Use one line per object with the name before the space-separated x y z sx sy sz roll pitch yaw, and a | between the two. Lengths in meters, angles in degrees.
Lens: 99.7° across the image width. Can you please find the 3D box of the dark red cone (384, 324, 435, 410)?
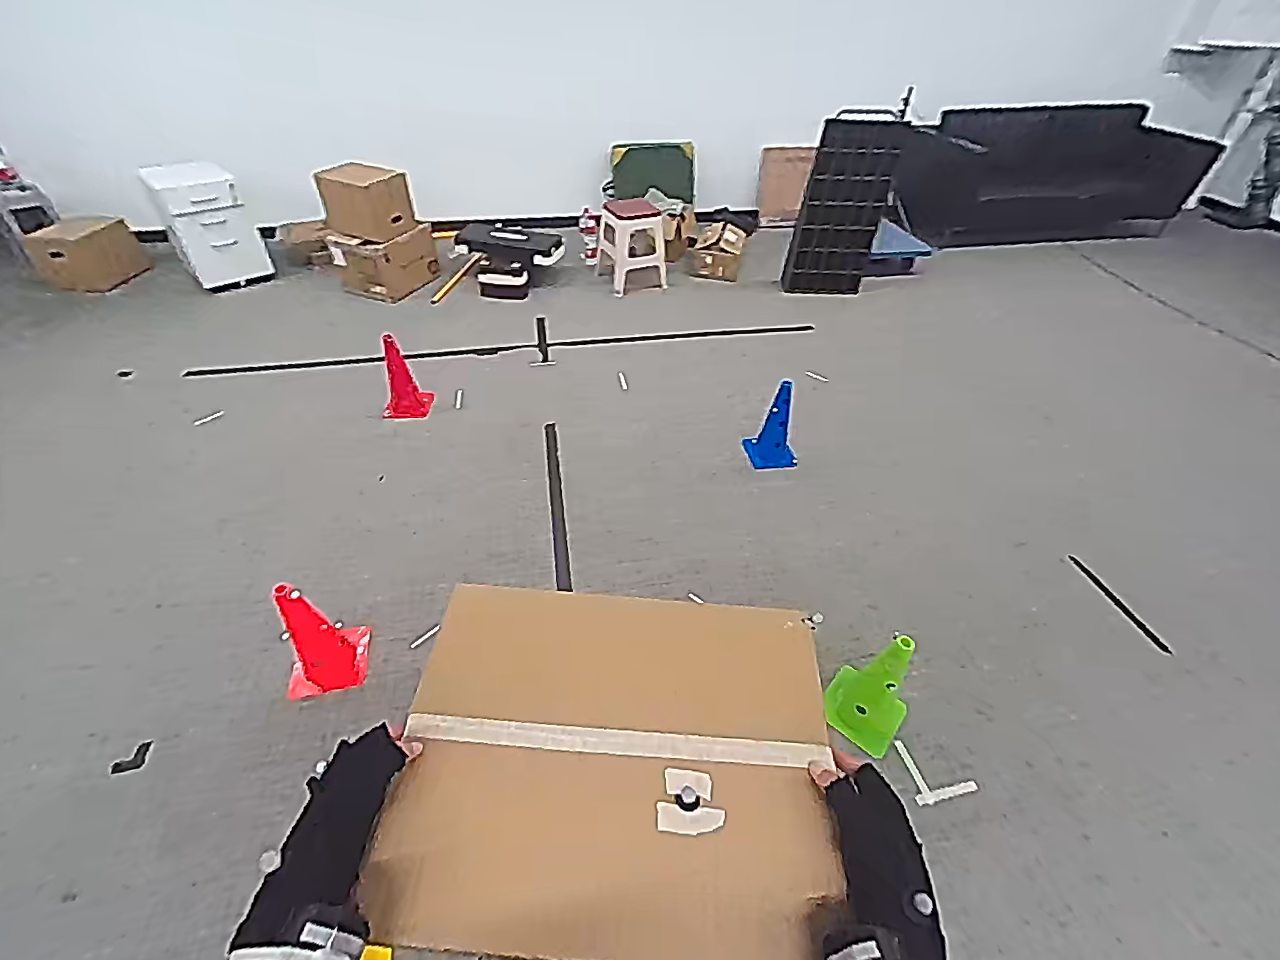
dark red cone | -1.057 -0.503 2.398 0.201 0.394 0.202 -1 43 -5

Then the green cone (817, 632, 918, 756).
green cone | 0.636 0.516 1.406 0.200 0.368 0.202 33 49 28

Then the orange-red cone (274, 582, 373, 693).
orange-red cone | -0.896 0.396 1.472 0.198 0.360 0.199 -8 45 -10

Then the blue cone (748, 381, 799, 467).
blue cone | 0.586 -0.242 2.245 0.192 0.380 0.193 -3 43 -7

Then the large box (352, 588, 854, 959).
large box | -0.029 0.351 0.629 0.408 0.320 0.320 5 48 1
